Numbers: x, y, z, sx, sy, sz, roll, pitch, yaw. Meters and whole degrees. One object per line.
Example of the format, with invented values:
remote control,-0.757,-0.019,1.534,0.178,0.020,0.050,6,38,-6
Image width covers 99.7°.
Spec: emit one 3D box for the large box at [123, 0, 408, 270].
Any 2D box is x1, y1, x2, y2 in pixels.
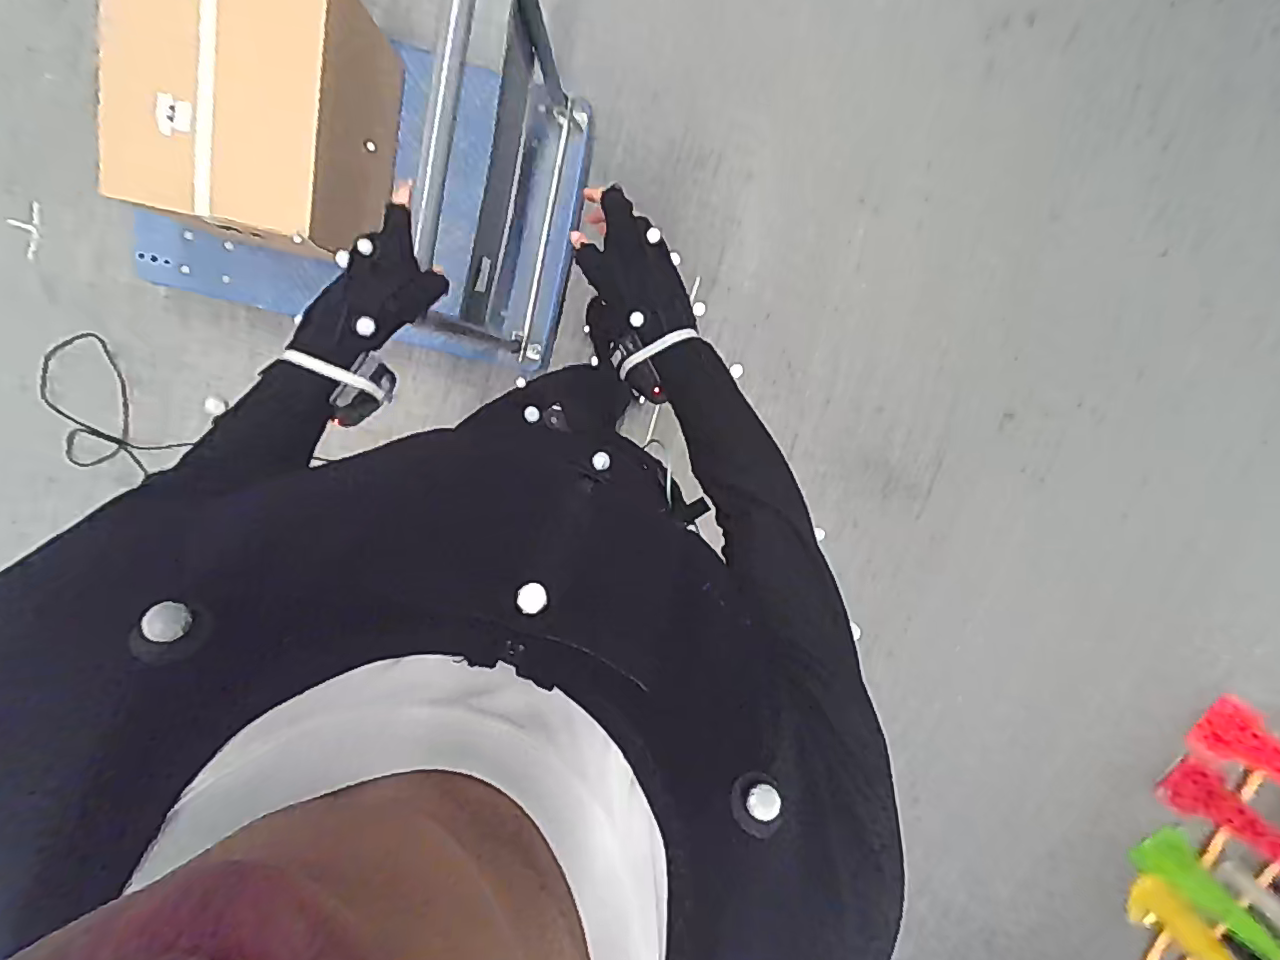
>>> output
large box,-0.634,-0.636,0.969,0.320,0.320,0.408,10,101,-6
